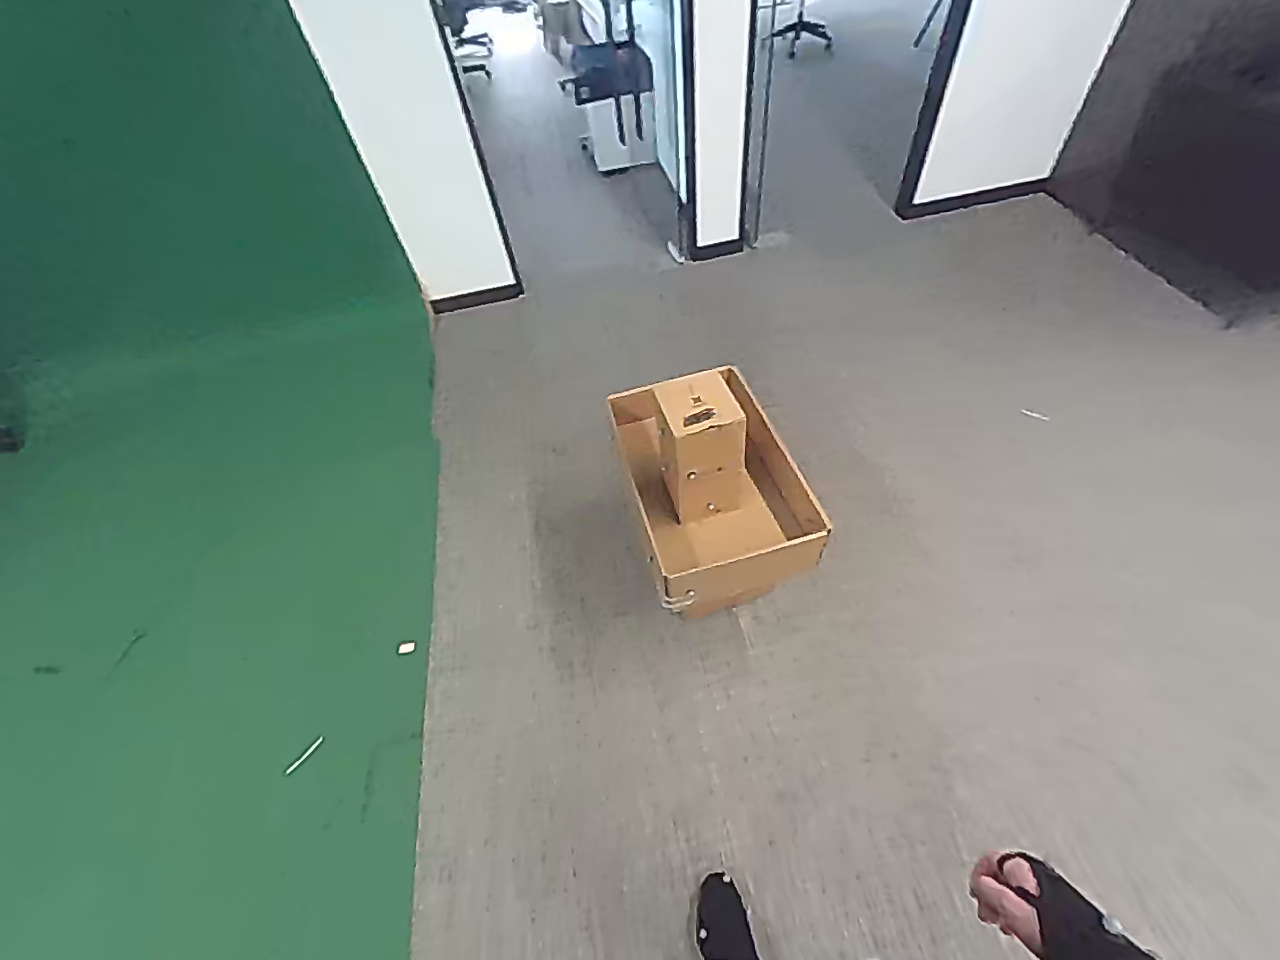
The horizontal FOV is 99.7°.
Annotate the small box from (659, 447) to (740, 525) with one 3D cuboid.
[{"bbox_3d":[0.149,-0.014,1.400,0.168,0.176,0.179,-15,51,-4],"label":"small box"}]

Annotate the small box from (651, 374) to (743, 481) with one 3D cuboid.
[{"bbox_3d":[0.133,-0.117,1.274,0.168,0.176,0.179,-16,50,-6],"label":"small box"}]
